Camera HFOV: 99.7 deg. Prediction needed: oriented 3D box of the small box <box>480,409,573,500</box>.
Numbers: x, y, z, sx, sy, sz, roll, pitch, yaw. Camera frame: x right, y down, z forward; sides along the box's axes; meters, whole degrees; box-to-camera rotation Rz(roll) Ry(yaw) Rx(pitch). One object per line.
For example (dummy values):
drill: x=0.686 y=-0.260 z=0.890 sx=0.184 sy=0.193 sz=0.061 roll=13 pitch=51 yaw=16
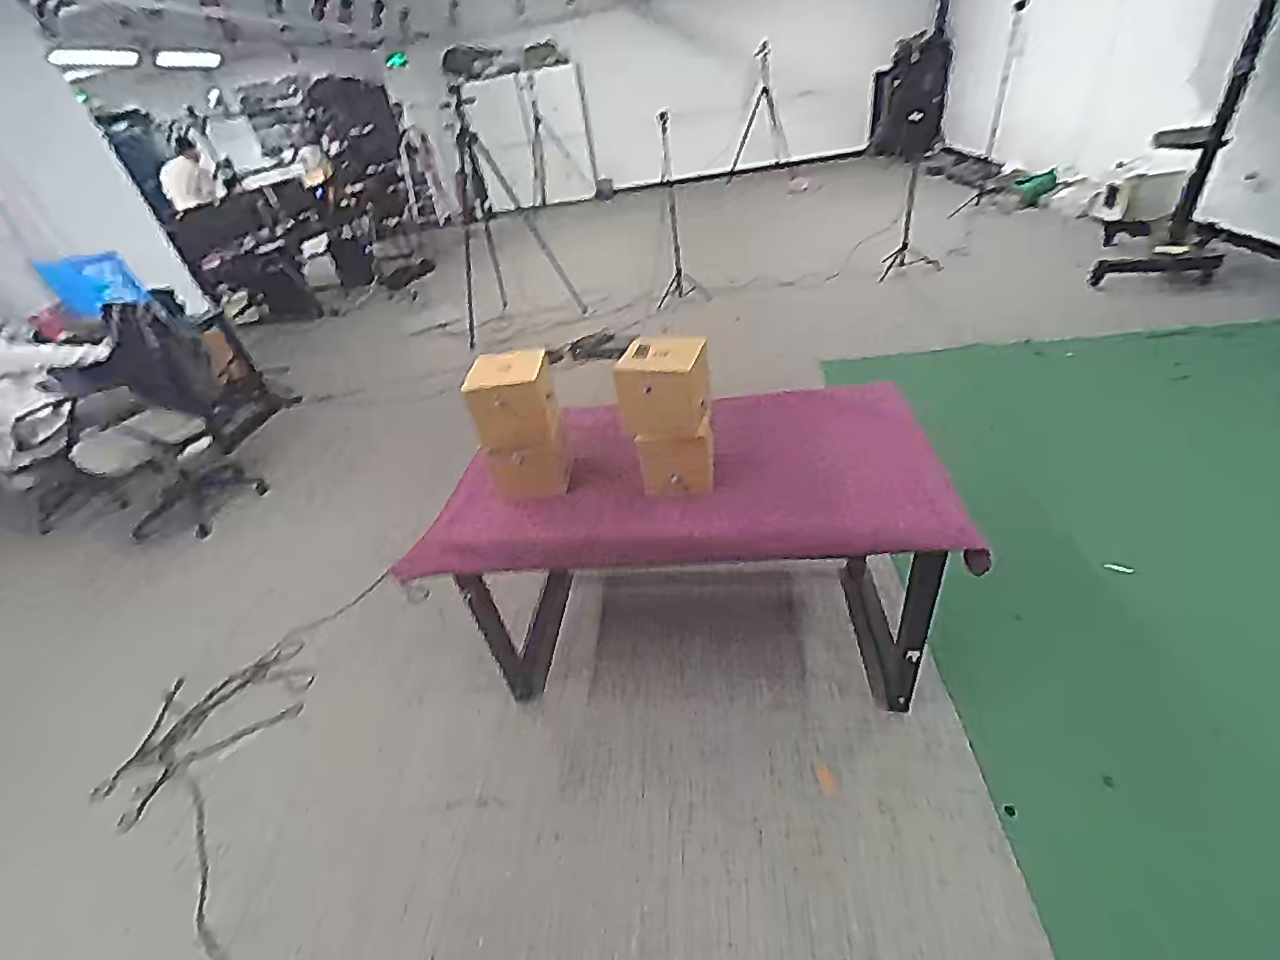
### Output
small box: x=-0.284 y=-0.062 z=1.391 sx=0.179 sy=0.176 sz=0.168 roll=-6 pitch=37 yaw=6

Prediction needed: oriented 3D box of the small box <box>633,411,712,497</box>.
small box: x=0.086 y=-0.076 z=1.318 sx=0.168 sy=0.176 sz=0.179 roll=-3 pitch=37 yaw=11

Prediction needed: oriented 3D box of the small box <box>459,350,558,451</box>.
small box: x=-0.303 y=-0.188 z=1.291 sx=0.179 sy=0.176 sz=0.168 roll=-8 pitch=37 yaw=5

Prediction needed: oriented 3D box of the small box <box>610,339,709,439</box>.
small box: x=0.052 y=-0.205 z=1.221 sx=0.179 sy=0.176 sz=0.168 roll=5 pitch=39 yaw=19
